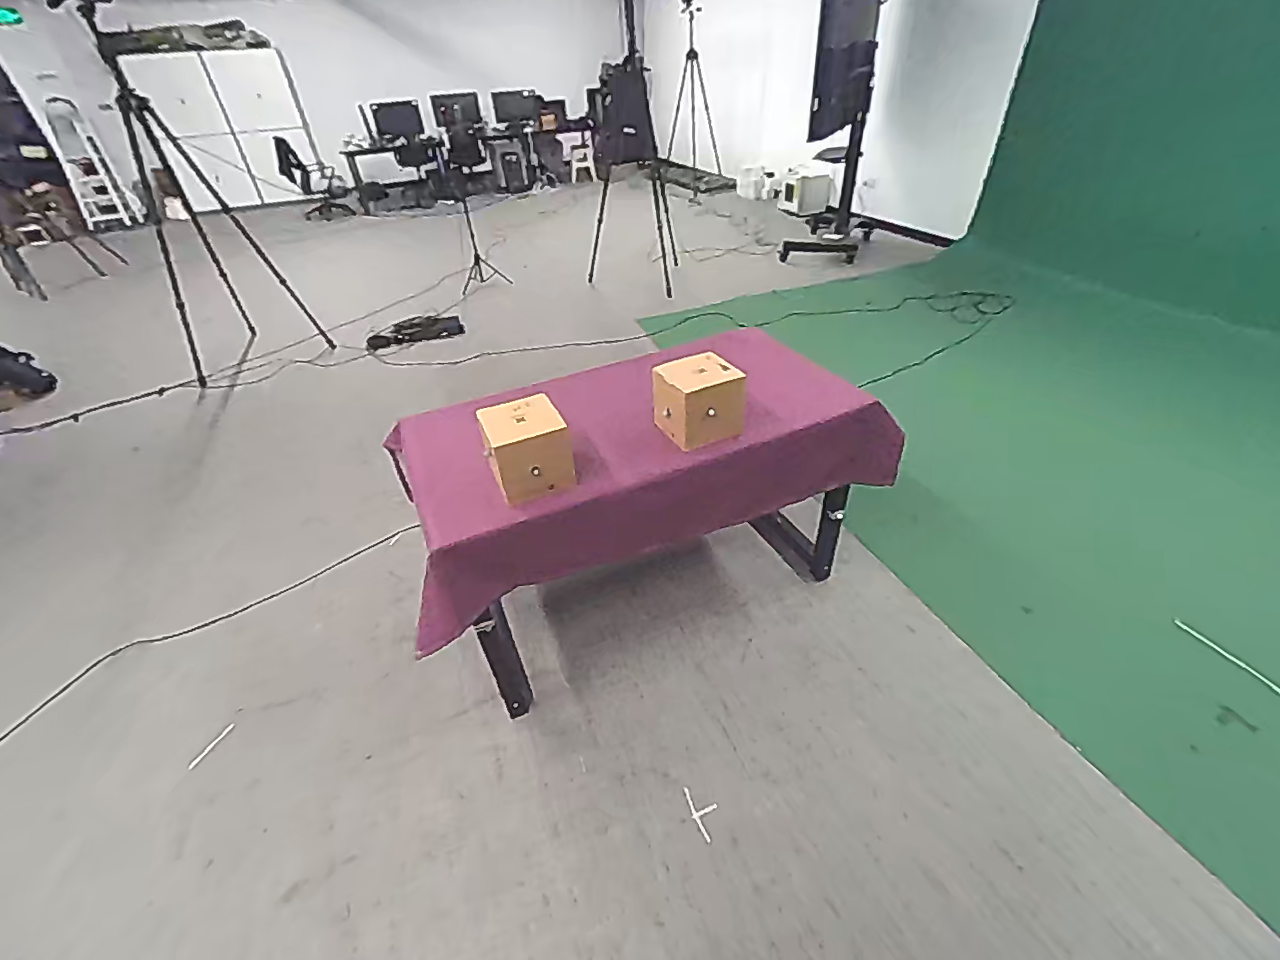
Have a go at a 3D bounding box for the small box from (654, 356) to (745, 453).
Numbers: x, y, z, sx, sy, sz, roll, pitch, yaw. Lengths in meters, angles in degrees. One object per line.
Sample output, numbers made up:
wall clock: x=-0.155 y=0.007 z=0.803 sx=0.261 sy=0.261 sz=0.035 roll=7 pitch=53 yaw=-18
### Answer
small box: x=0.152 y=-0.192 z=1.380 sx=0.179 sy=0.176 sz=0.168 roll=-20 pitch=40 yaw=-17

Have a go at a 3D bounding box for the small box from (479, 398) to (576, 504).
small box: x=-0.257 y=-0.062 z=1.254 sx=0.168 sy=0.176 sz=0.179 roll=-18 pitch=39 yaw=-18
